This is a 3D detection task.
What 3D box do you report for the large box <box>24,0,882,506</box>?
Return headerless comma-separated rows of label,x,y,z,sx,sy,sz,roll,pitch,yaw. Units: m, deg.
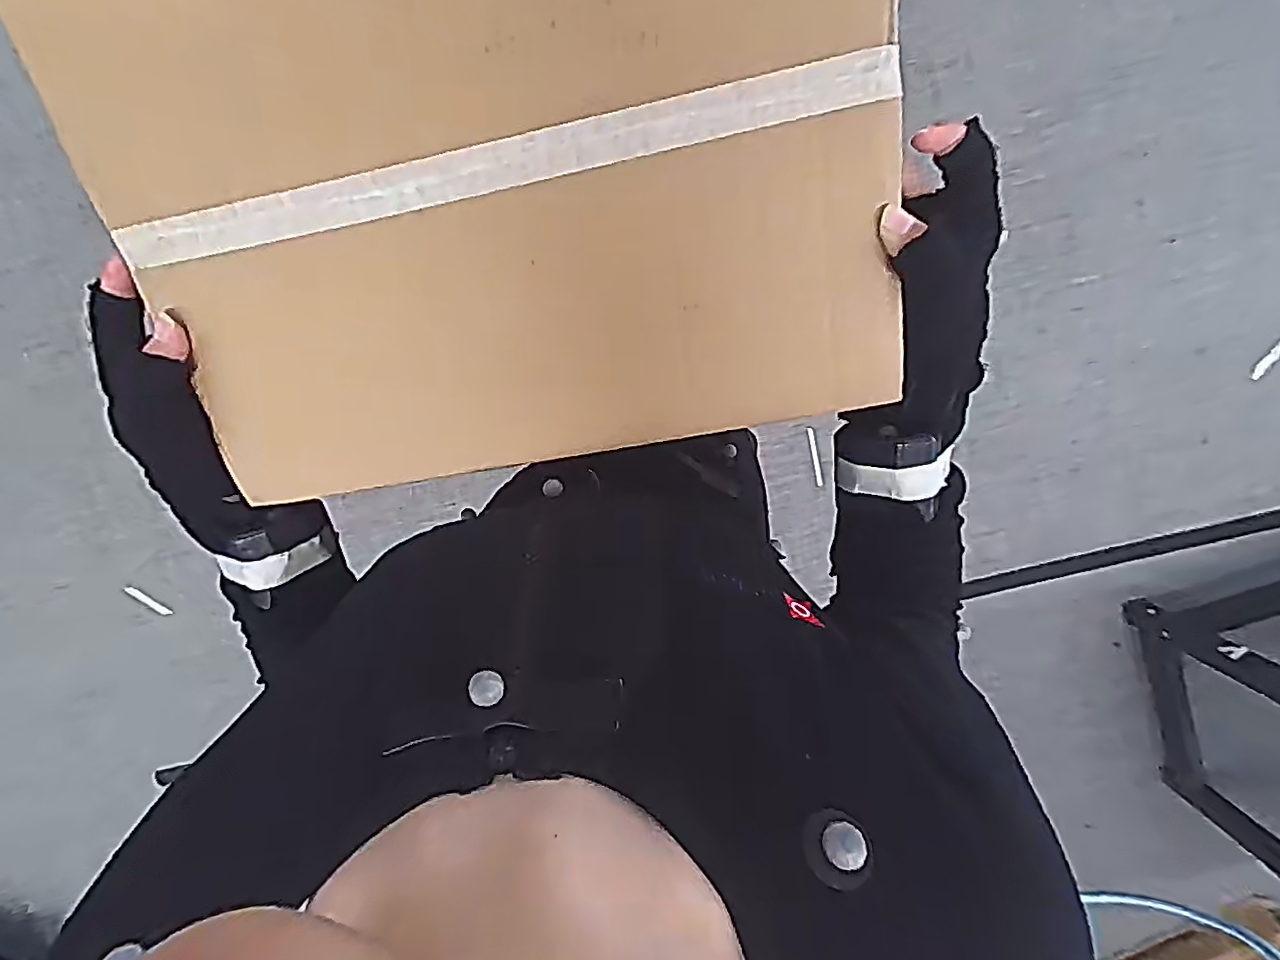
large box,-0.073,-0.210,0.422,0.408,0.320,0.320,-9,110,6
